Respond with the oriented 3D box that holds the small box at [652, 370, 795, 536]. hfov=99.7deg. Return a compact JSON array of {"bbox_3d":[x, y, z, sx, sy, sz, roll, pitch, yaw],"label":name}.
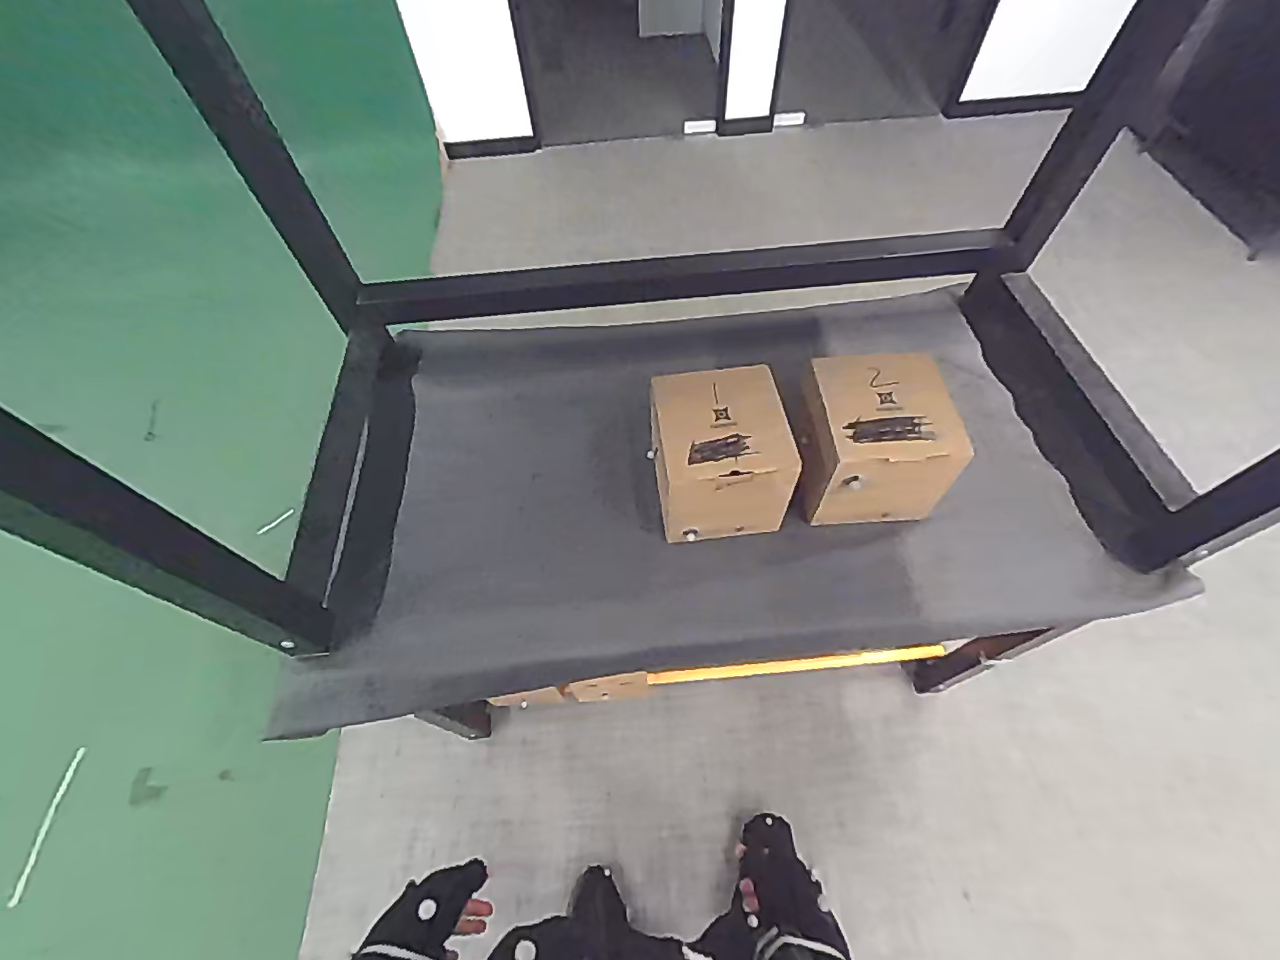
[{"bbox_3d":[0.110,-0.031,0.779,0.168,0.176,0.179,-6,56,-2],"label":"small box"}]
